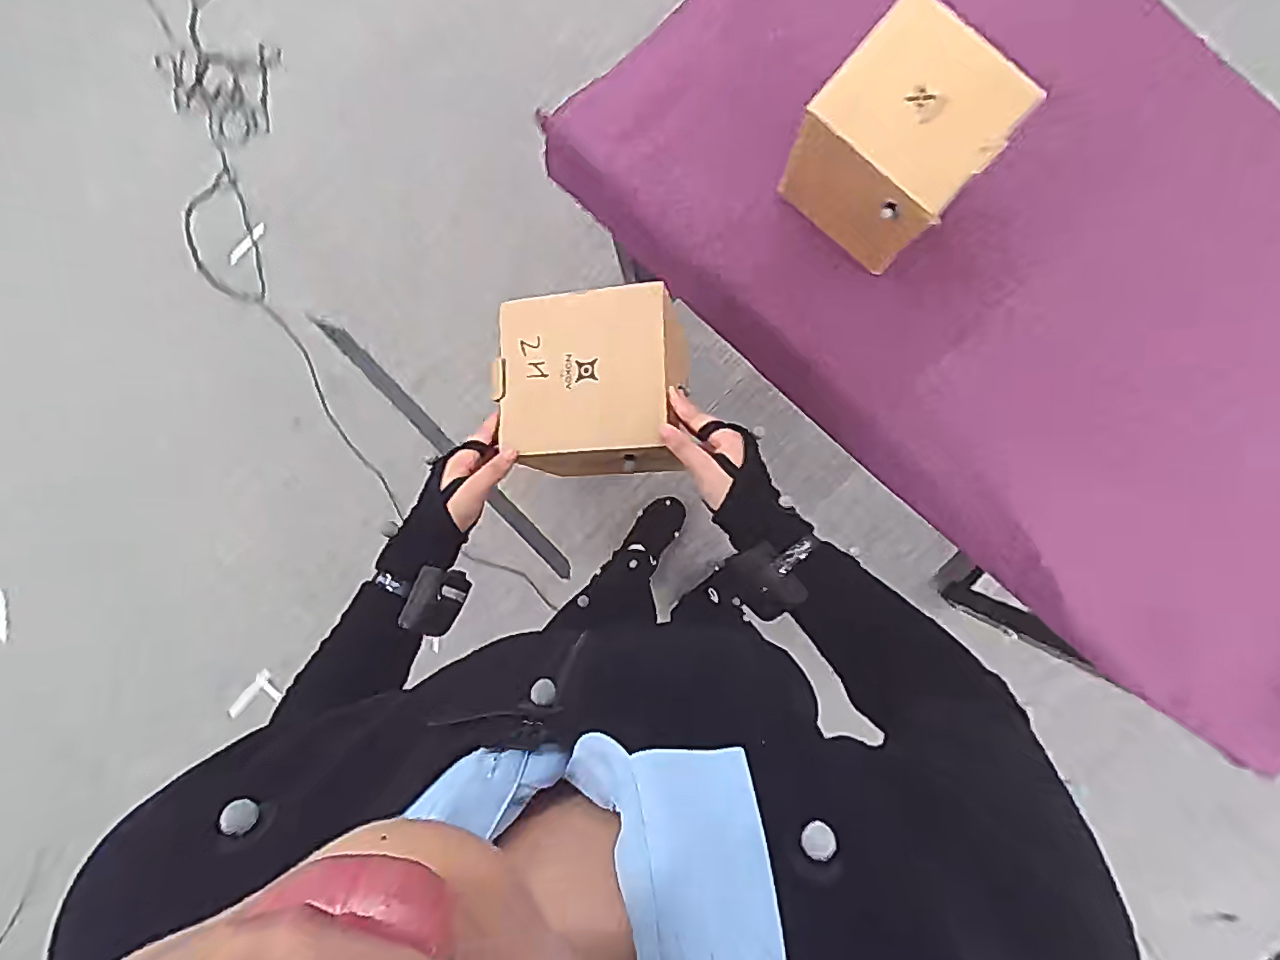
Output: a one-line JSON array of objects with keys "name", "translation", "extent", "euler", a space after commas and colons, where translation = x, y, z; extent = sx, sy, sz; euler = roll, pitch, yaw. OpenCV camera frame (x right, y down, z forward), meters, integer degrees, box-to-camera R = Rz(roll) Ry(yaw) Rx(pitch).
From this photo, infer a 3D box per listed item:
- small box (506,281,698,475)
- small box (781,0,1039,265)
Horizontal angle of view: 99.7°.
[{"name": "small box", "translation": [-0.029, -0.099, 0.600], "extent": [0.179, 0.176, 0.168], "euler": [-2, 82, 14]}, {"name": "small box", "translation": [0.292, -0.388, 0.633], "extent": [0.179, 0.176, 0.168], "euler": [41, 93, 1]}]
